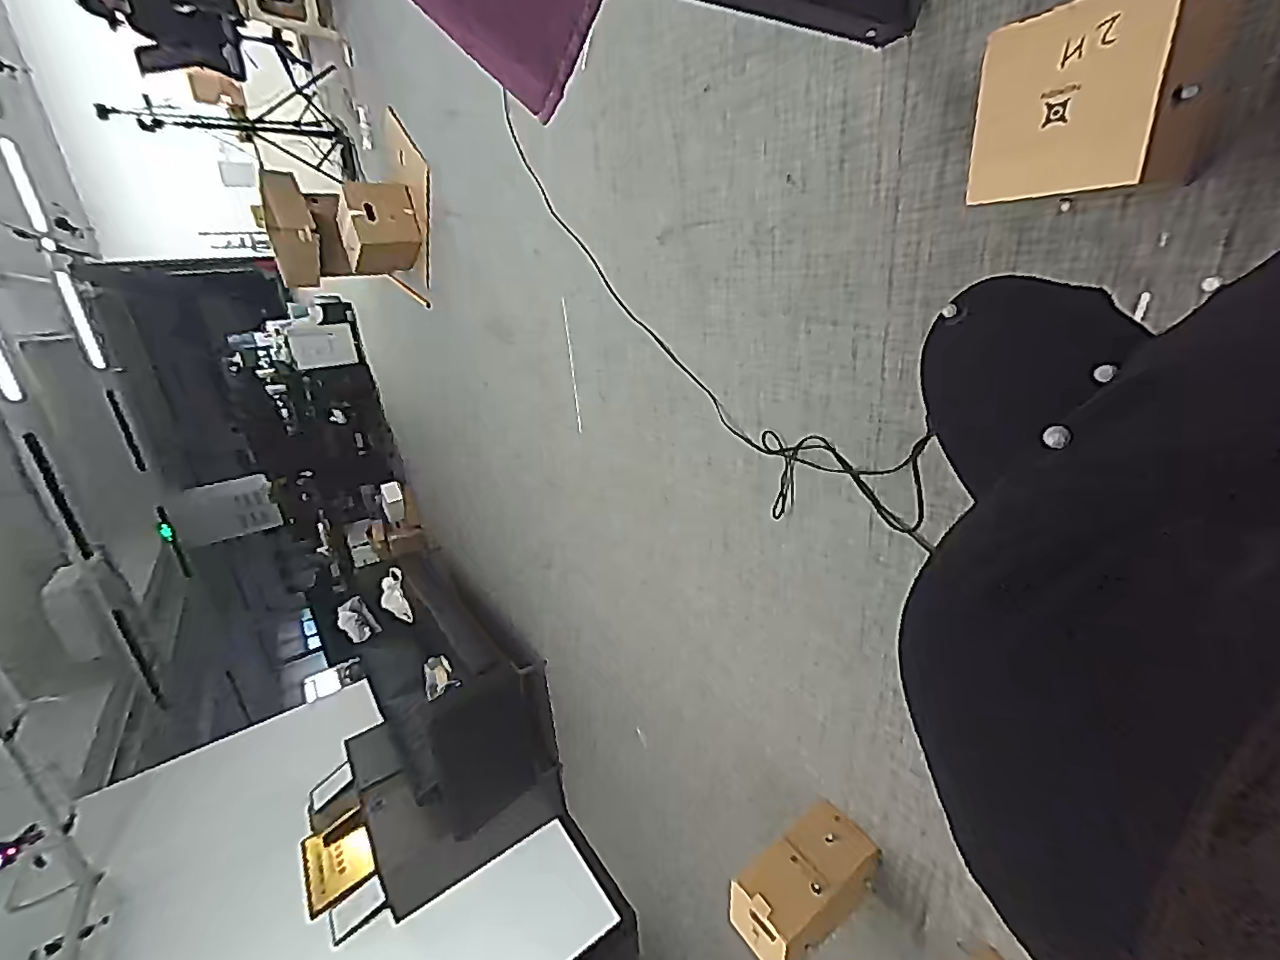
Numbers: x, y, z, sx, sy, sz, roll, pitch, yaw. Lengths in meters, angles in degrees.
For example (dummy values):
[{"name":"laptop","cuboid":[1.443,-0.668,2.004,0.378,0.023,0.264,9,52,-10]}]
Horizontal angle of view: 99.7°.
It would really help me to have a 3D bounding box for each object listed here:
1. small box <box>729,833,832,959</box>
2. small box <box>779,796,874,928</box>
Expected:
[{"name":"small box","cuboid":[0.328,0.986,1.269,0.168,0.176,0.179,28,129,49]},{"name":"small box","cuboid":[0.463,0.947,1.357,0.168,0.176,0.179,27,126,50]}]
